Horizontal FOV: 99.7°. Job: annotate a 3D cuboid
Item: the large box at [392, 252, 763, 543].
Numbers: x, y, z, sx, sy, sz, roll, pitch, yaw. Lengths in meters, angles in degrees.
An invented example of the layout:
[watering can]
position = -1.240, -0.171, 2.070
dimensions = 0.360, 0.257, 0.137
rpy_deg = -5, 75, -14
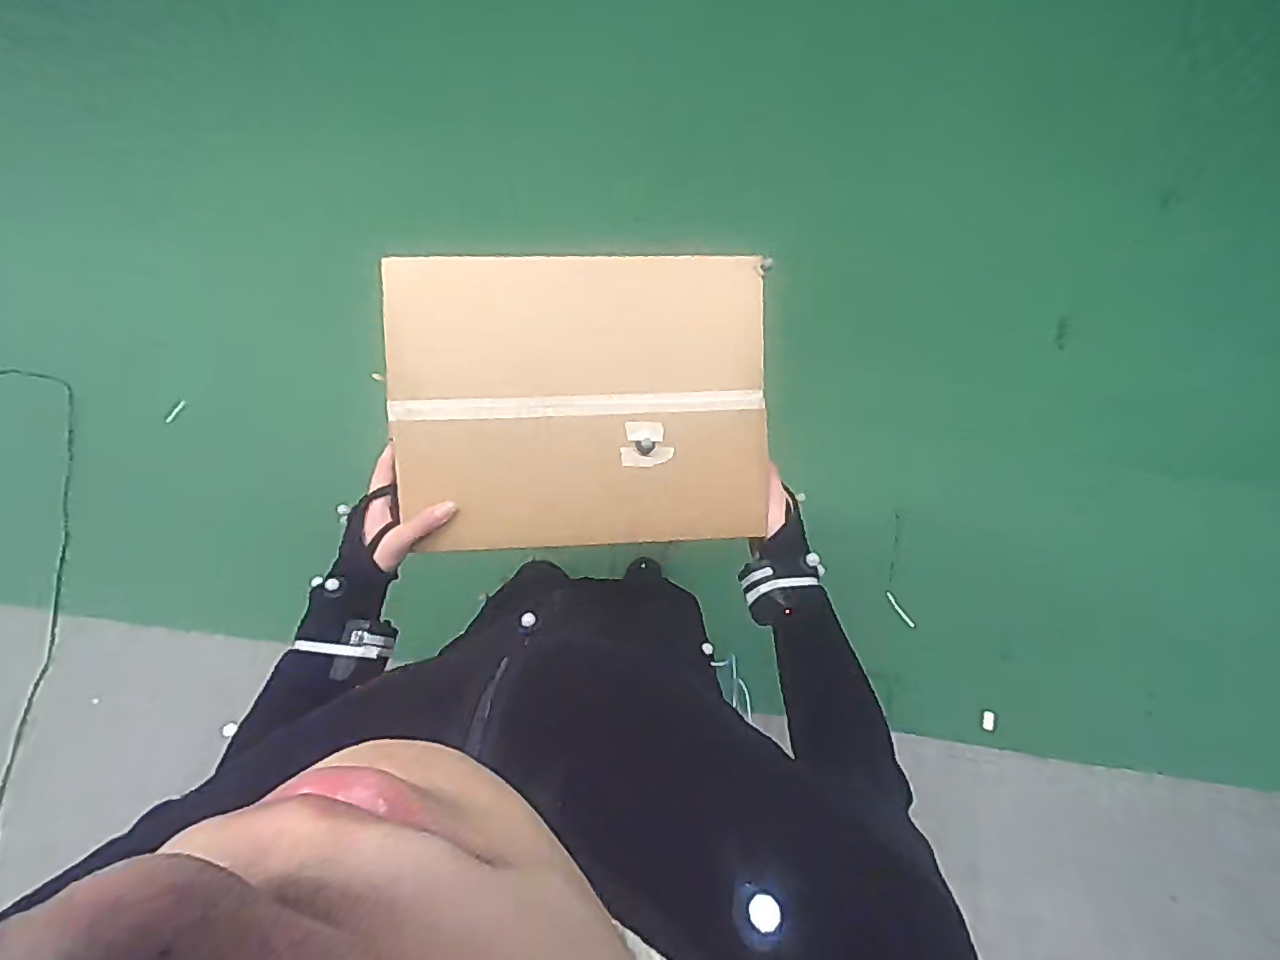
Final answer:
[large box]
position = -0.075, -0.105, 0.746
dimensions = 0.408, 0.320, 0.320
rpy_deg = -2, 96, -6

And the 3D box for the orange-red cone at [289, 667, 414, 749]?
[orange-red cone]
position = -0.793, 0.639, 1.428
dimensions = 0.199, 0.360, 0.198
rpy_deg = 14, 80, 6
